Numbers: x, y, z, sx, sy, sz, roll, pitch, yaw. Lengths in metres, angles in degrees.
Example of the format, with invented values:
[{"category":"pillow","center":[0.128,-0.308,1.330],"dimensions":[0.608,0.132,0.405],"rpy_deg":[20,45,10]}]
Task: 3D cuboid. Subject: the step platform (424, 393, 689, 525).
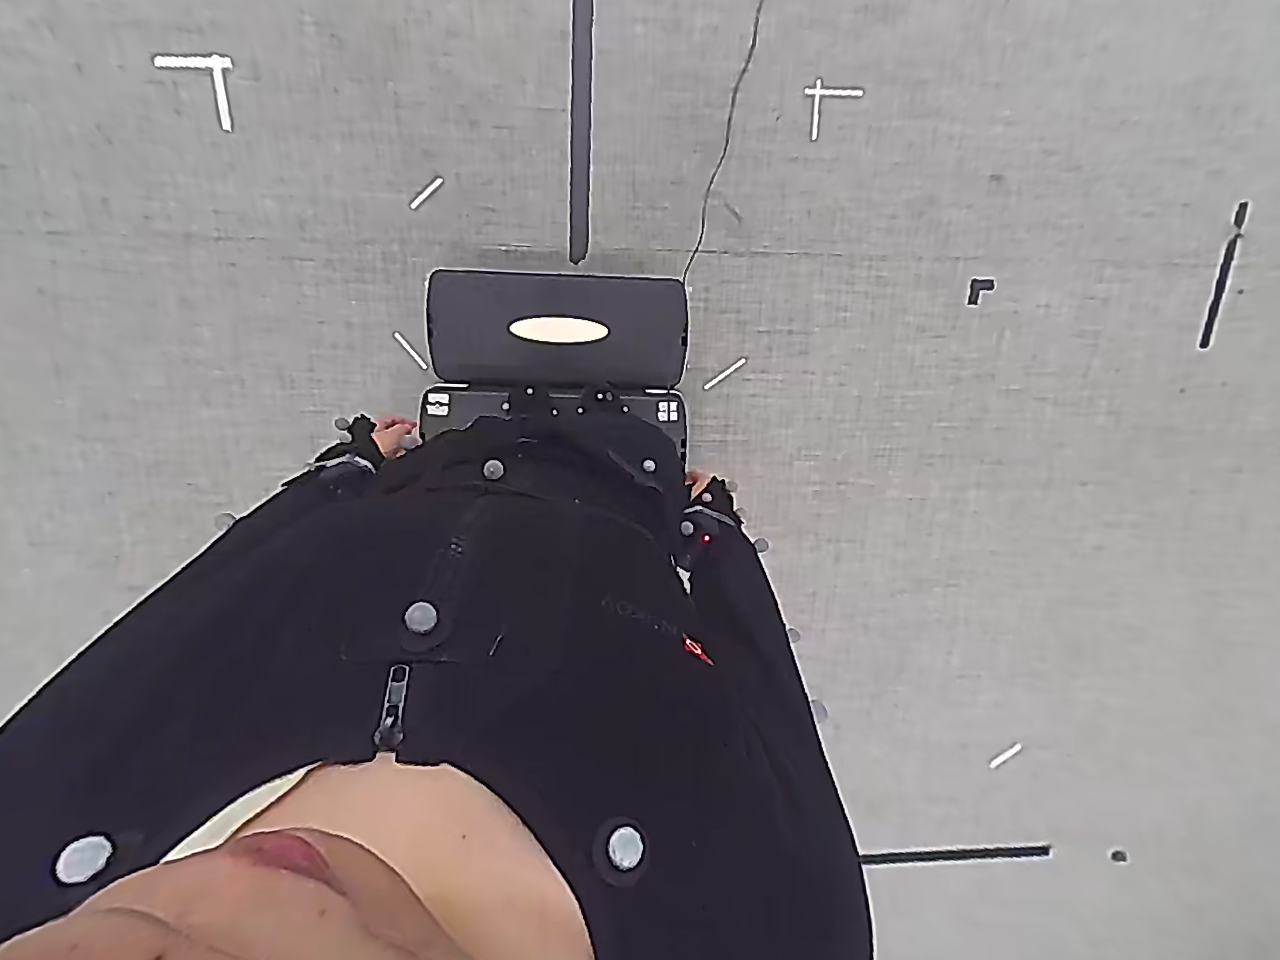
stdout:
[{"category":"step platform","center":[-0.211,-0.056,1.444],"dimensions":[0.684,0.204,0.286],"rpy_deg":[5,101,-3]}]
